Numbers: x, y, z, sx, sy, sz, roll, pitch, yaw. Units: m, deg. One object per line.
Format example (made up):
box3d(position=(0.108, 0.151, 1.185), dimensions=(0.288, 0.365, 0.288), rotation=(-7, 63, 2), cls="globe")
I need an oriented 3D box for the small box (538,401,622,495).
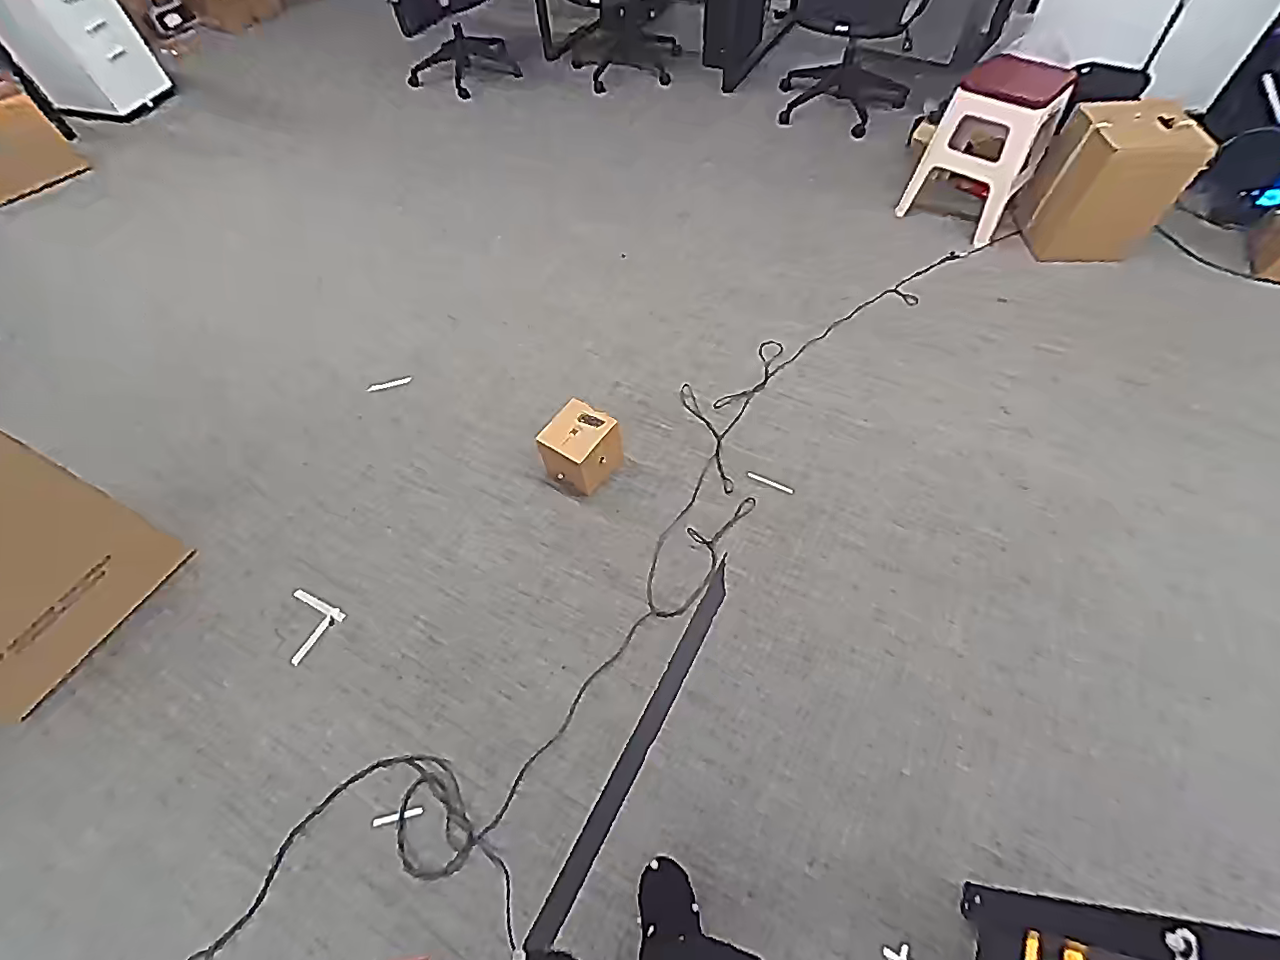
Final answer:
box3d(position=(-0.166, -0.090, 1.568), dimensions=(0.168, 0.176, 0.179), rotation=(29, 64, 22), cls="small box")
